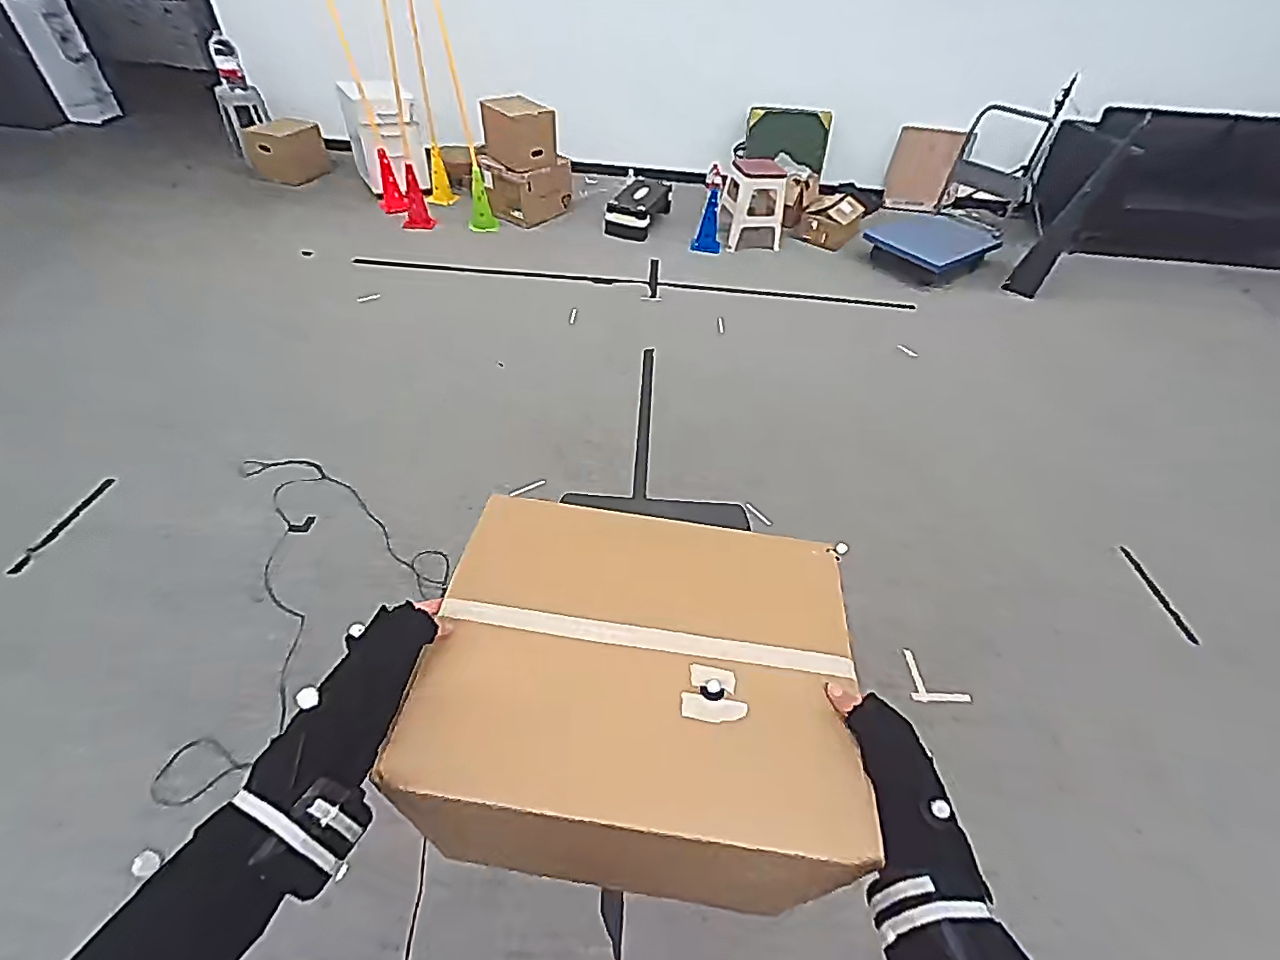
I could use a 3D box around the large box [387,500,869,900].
[{"bbox_3d":[-0.009,0.259,0.642,0.408,0.320,0.320,9,46,2],"label":"large box"}]
